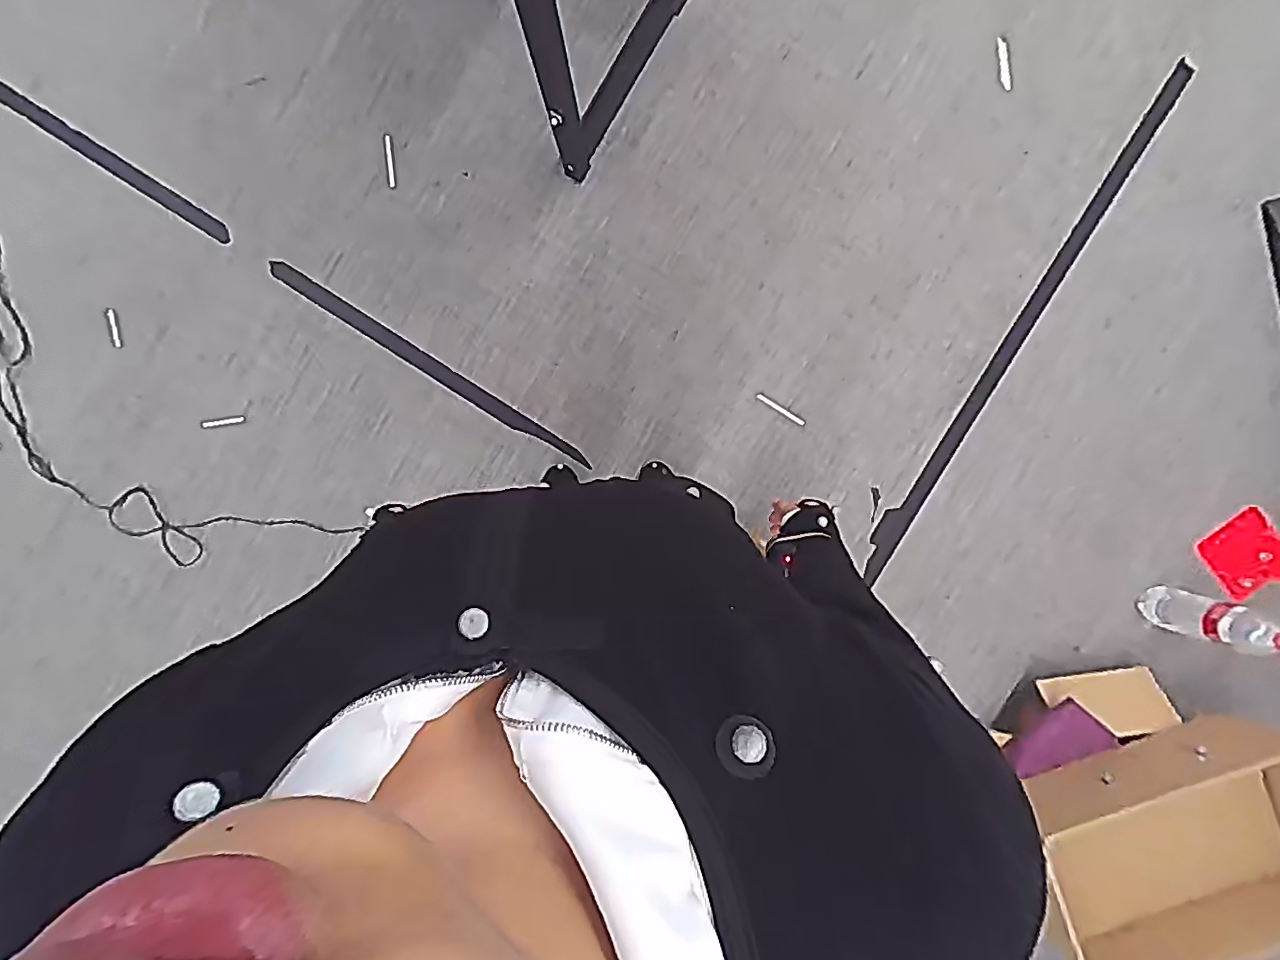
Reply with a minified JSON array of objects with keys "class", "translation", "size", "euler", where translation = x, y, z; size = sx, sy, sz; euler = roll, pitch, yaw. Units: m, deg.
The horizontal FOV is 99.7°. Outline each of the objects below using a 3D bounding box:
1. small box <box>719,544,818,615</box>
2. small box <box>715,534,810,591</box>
[{"class":"small box","translation":[0.304,0.265,1.260],"size":[0.179,0.176,0.168],"euler":[32,92,0]},{"class":"small box","translation":[0.313,0.261,1.424],"size":[0.168,0.176,0.179],"euler":[32,92,0]}]
